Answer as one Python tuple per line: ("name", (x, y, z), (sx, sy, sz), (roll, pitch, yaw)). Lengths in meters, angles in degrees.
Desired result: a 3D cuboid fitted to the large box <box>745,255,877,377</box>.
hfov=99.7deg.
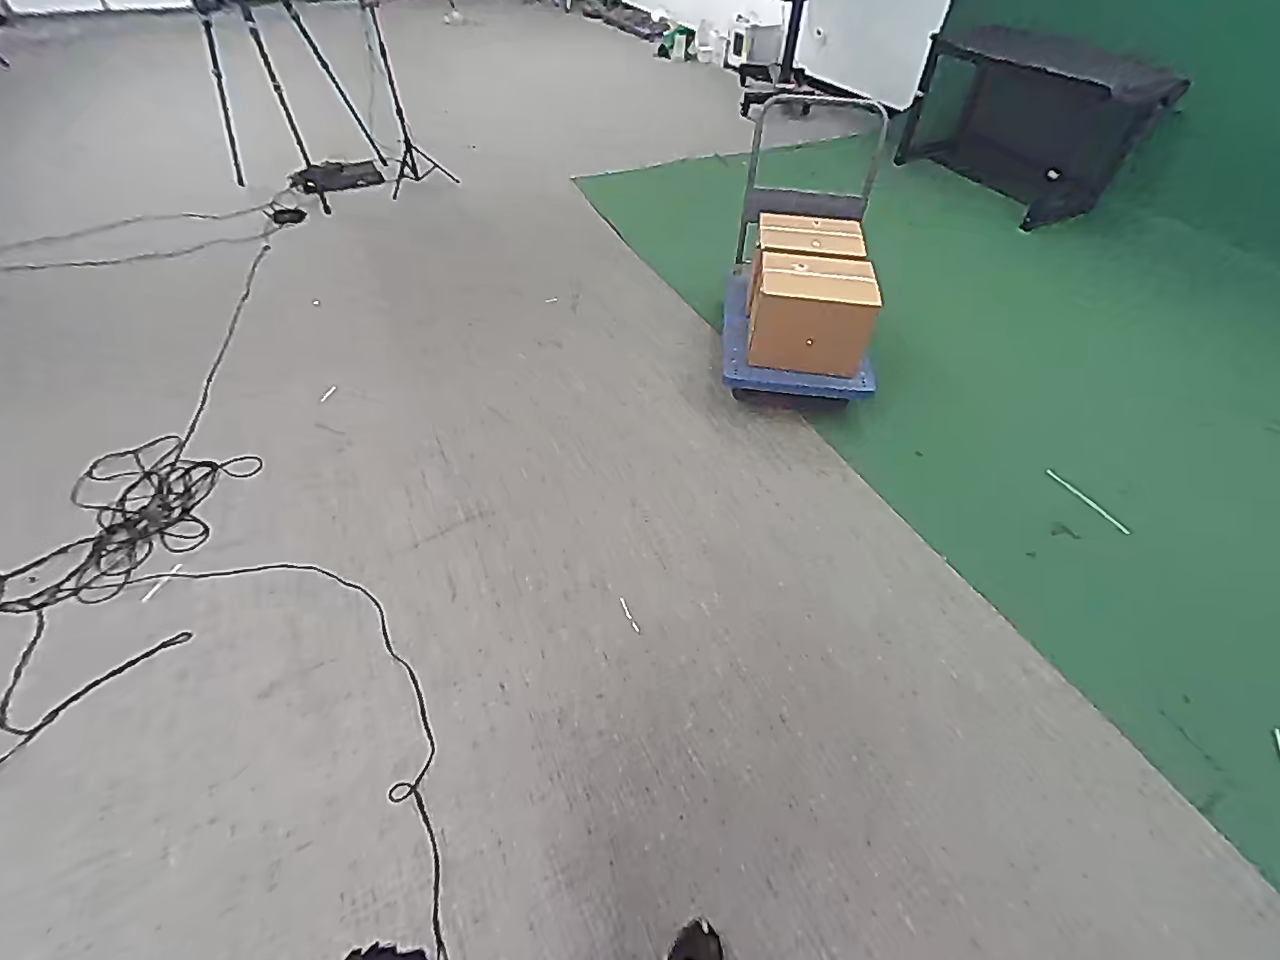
("large box", (0.626, -0.615, 2.041), (0.408, 0.320, 0.320), (7, 49, 6))
